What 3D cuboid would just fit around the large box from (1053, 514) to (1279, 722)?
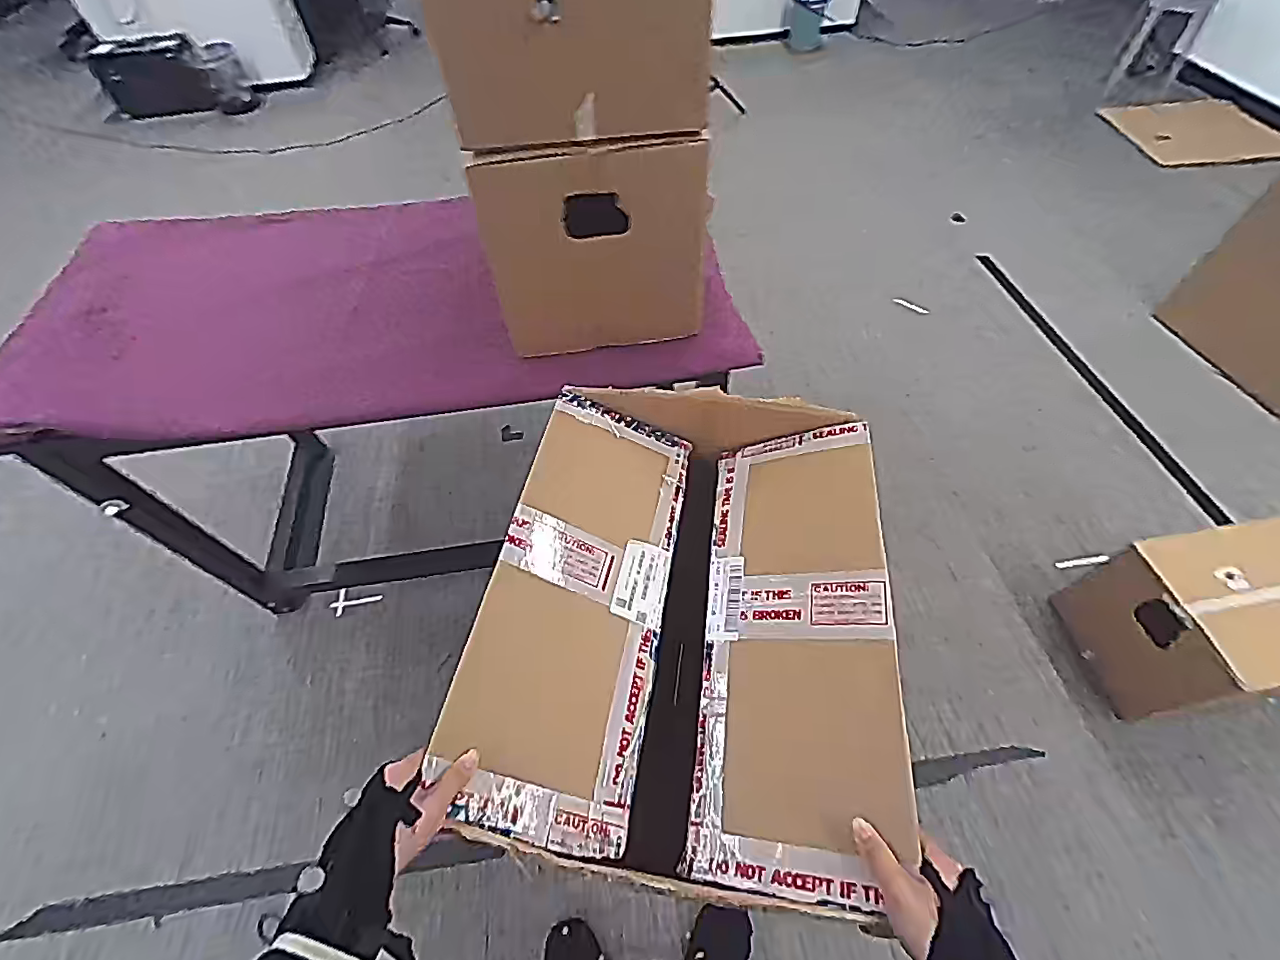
[{"bbox_3d":[1.264,0.310,1.190,0.408,0.320,0.320,-10,55,-3],"label":"large box"}]
